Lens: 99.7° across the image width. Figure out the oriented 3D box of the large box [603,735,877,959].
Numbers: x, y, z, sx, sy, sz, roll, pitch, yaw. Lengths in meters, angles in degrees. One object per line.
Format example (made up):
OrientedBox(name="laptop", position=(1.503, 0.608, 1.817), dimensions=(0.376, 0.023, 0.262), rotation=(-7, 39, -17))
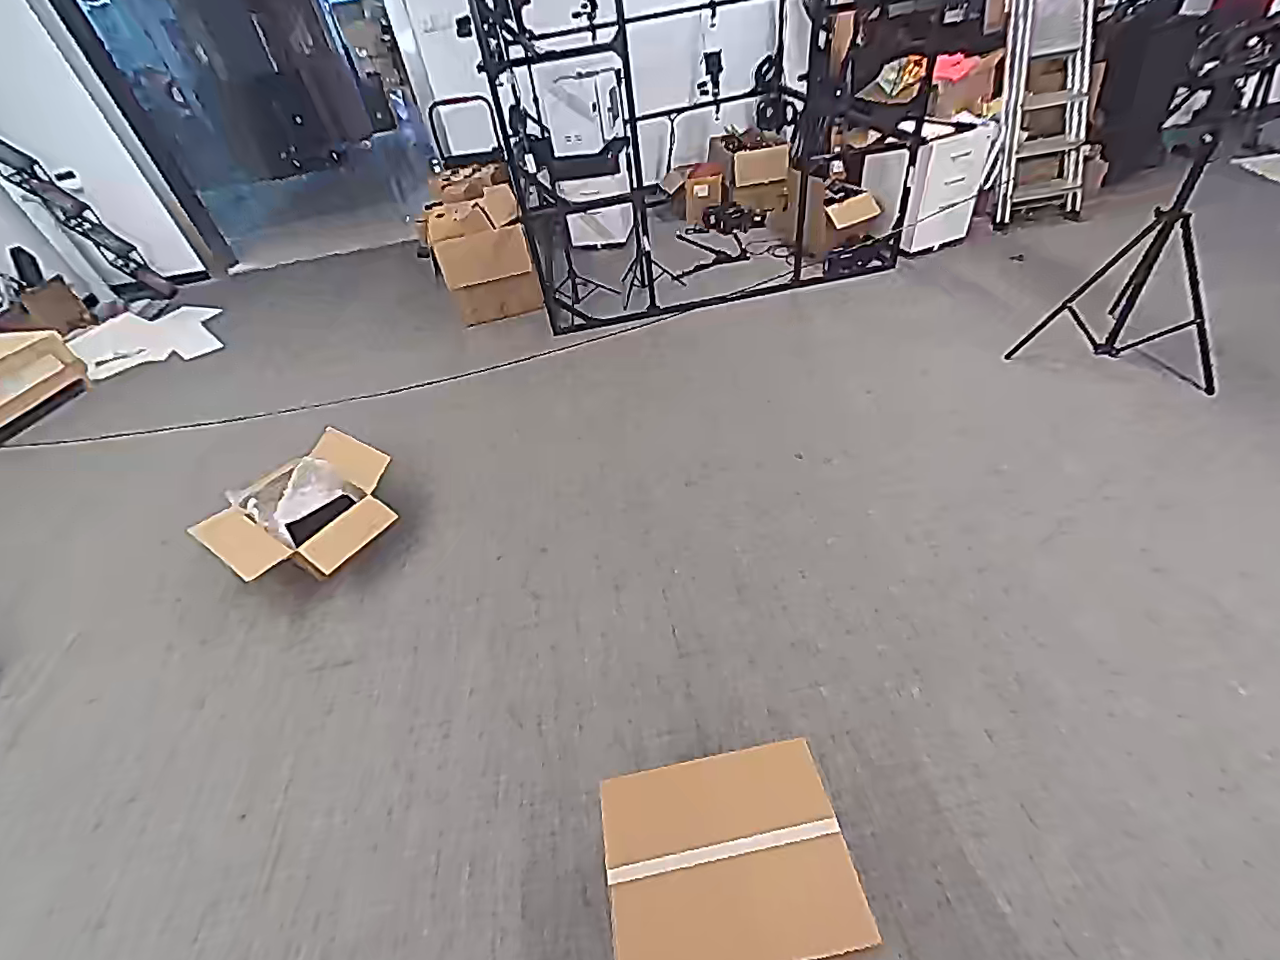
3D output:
OrientedBox(name="large box", position=(0.165, 0.741, 1.024), dimensions=(0.408, 0.320, 0.320), rotation=(-12, 43, -2))
